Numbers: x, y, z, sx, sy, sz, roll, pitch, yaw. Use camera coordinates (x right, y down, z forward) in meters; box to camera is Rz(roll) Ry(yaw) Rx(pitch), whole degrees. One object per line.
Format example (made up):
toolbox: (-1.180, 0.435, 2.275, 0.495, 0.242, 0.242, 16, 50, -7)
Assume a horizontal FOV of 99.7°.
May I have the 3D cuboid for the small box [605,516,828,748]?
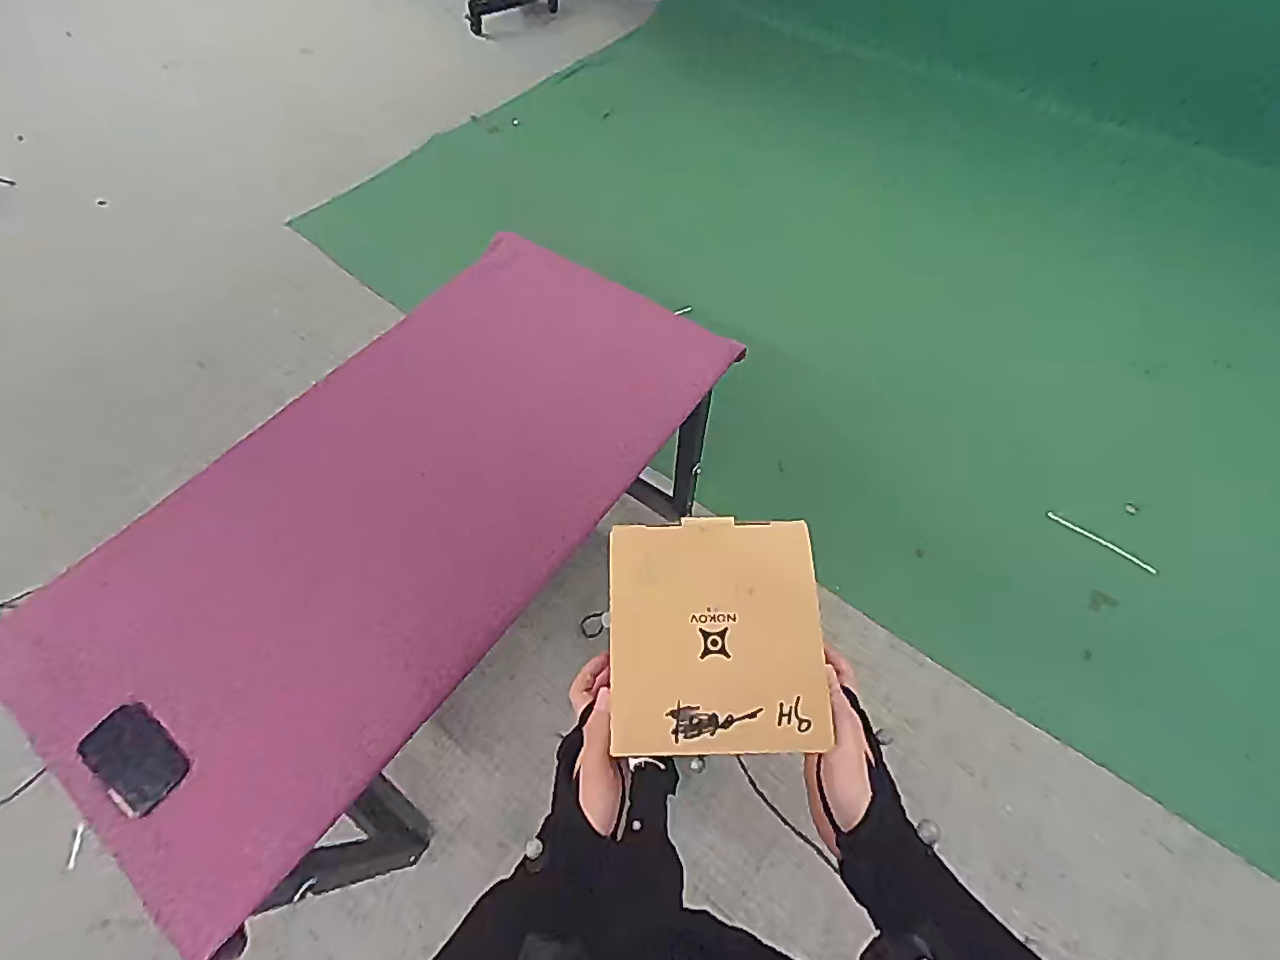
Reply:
small box: (0.057, 0.141, 0.497, 0.168, 0.176, 0.179, -2, 70, 2)
